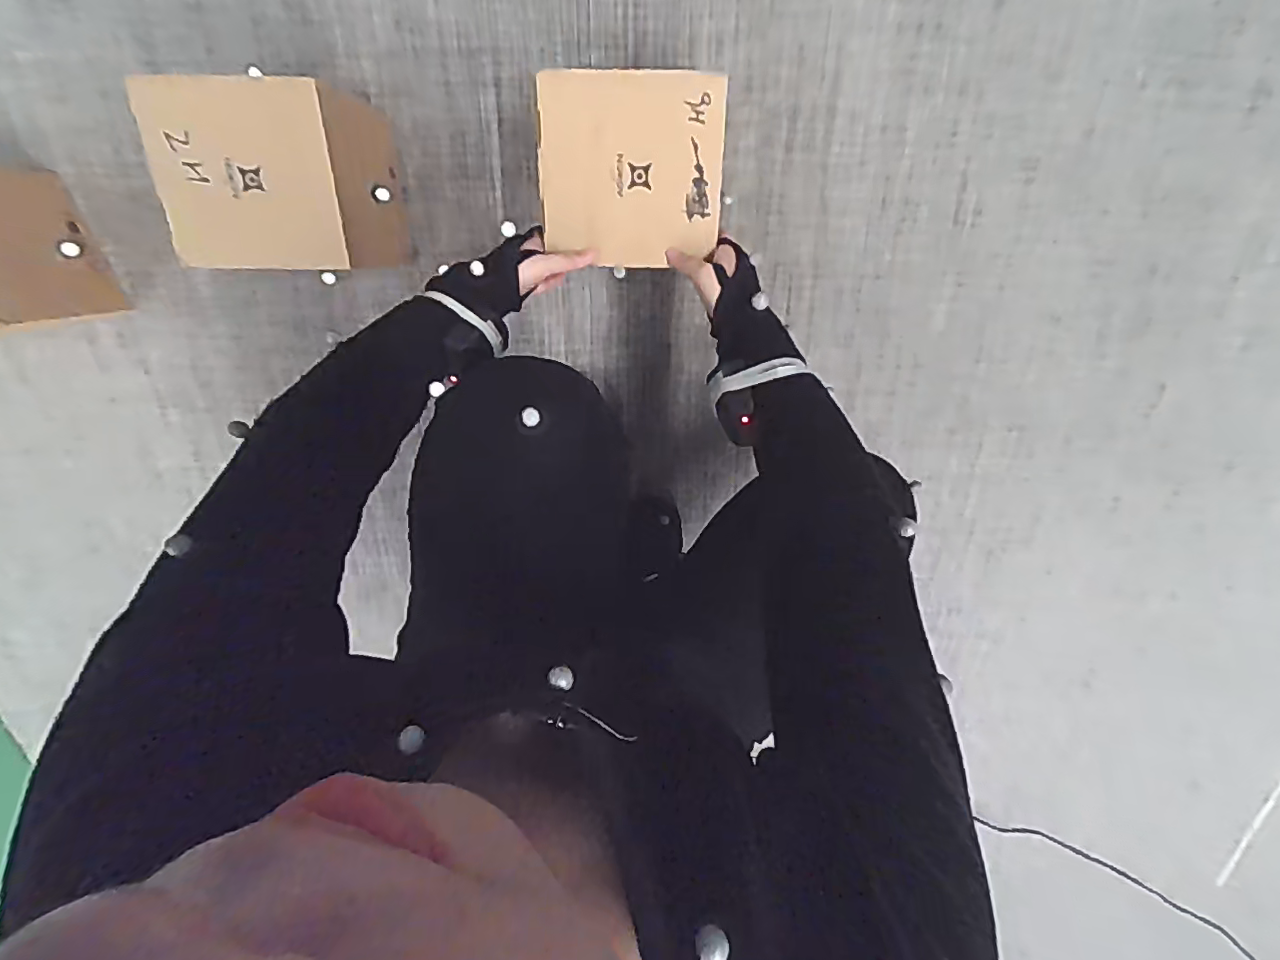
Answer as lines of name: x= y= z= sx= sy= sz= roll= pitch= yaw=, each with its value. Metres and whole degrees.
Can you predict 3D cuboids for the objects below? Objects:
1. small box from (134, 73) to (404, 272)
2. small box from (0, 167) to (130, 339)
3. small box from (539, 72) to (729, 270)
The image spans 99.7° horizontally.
small box: x=-0.378 y=-0.323 z=0.597 sx=0.179 sy=0.176 sz=0.168 roll=1 pitch=112 yaw=-1
small box: x=-0.769 y=-0.253 z=0.621 sx=0.179 sy=0.176 sz=0.168 roll=-11 pitch=113 yaw=3
small box: x=-0.005 y=-0.322 z=0.593 sx=0.179 sy=0.176 sz=0.168 roll=2 pitch=113 yaw=1
